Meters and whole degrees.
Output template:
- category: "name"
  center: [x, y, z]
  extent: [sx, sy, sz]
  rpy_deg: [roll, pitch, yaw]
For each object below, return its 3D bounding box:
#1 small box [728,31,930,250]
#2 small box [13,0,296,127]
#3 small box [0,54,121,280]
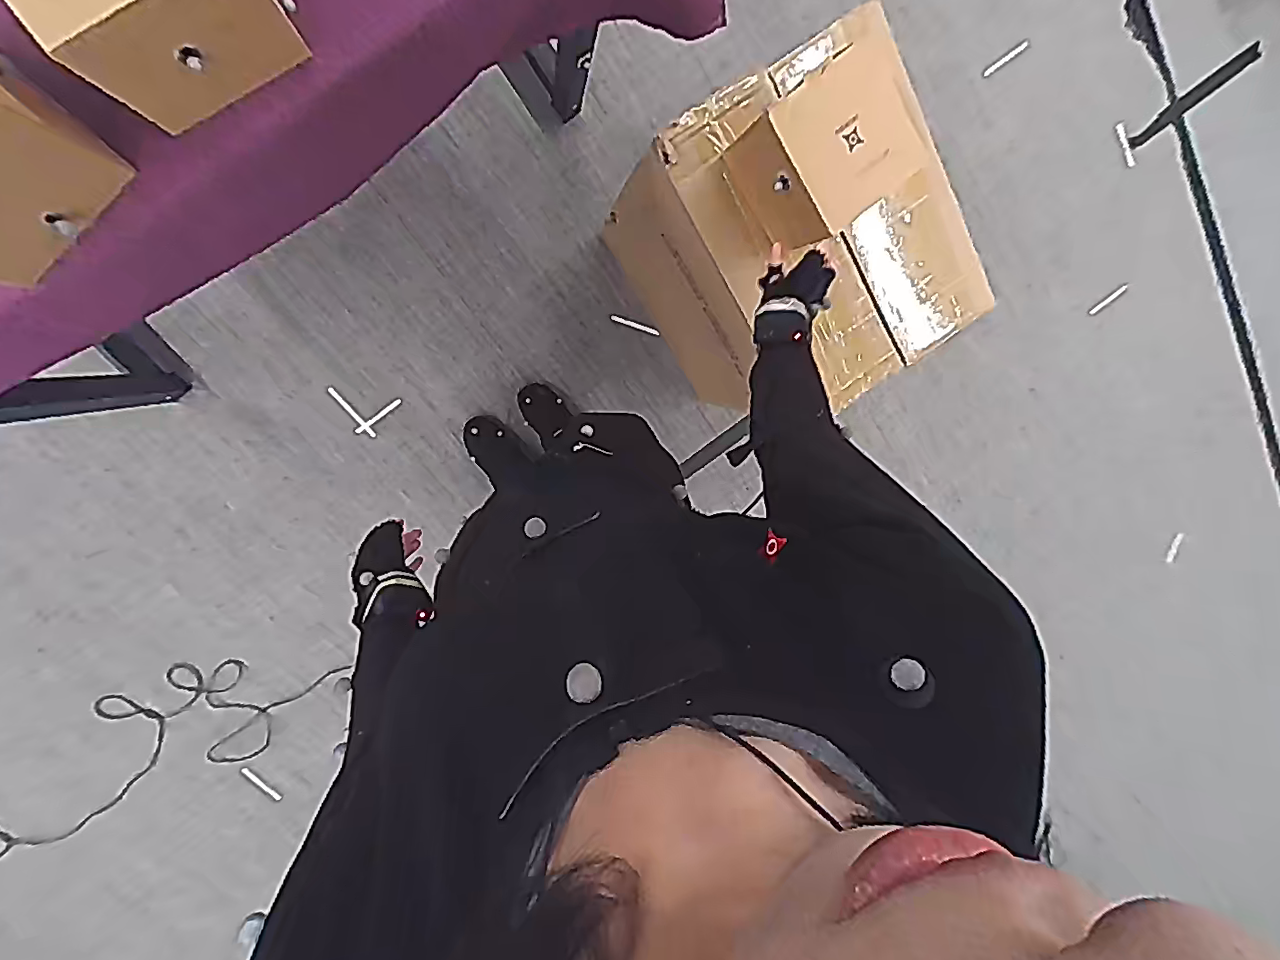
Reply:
- category: "small box"
  center: [0.251, -0.451, 0.755]
  extent: [0.168, 0.176, 0.179]
  rpy_deg: [-38, 108, 1]
- category: "small box"
  center: [-0.454, -0.471, 0.491]
  extent: [0.179, 0.176, 0.168]
  rpy_deg: [-33, 106, -3]
- category: "small box"
  center: [-0.639, -0.311, 0.486]
  extent: [0.168, 0.176, 0.179]
  rpy_deg: [43, 89, -16]
